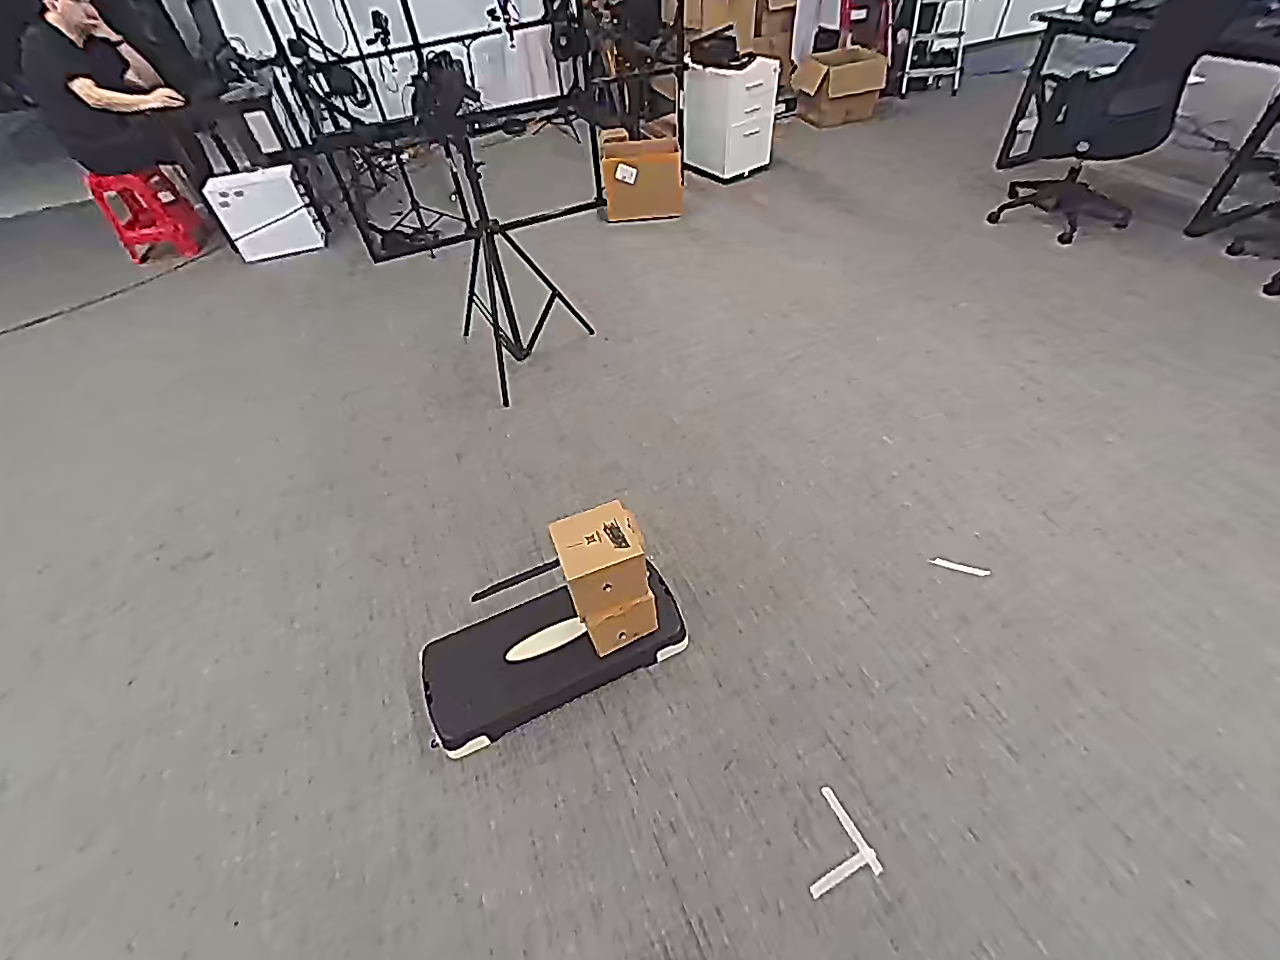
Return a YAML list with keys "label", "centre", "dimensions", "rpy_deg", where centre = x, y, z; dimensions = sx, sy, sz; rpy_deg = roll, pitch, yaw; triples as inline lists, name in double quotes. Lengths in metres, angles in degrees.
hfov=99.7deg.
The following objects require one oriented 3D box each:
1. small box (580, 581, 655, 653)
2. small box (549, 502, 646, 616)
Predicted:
- label: "small box"
  centre: [-0.072, 0.300, 1.359]
  dimensions: [0.168, 0.176, 0.179]
  rpy_deg: [-23, 51, -15]
- label: "small box"
  centre: [-0.093, 0.183, 1.245]
  dimensions: [0.179, 0.176, 0.168]
  rpy_deg: [-19, 50, -11]
